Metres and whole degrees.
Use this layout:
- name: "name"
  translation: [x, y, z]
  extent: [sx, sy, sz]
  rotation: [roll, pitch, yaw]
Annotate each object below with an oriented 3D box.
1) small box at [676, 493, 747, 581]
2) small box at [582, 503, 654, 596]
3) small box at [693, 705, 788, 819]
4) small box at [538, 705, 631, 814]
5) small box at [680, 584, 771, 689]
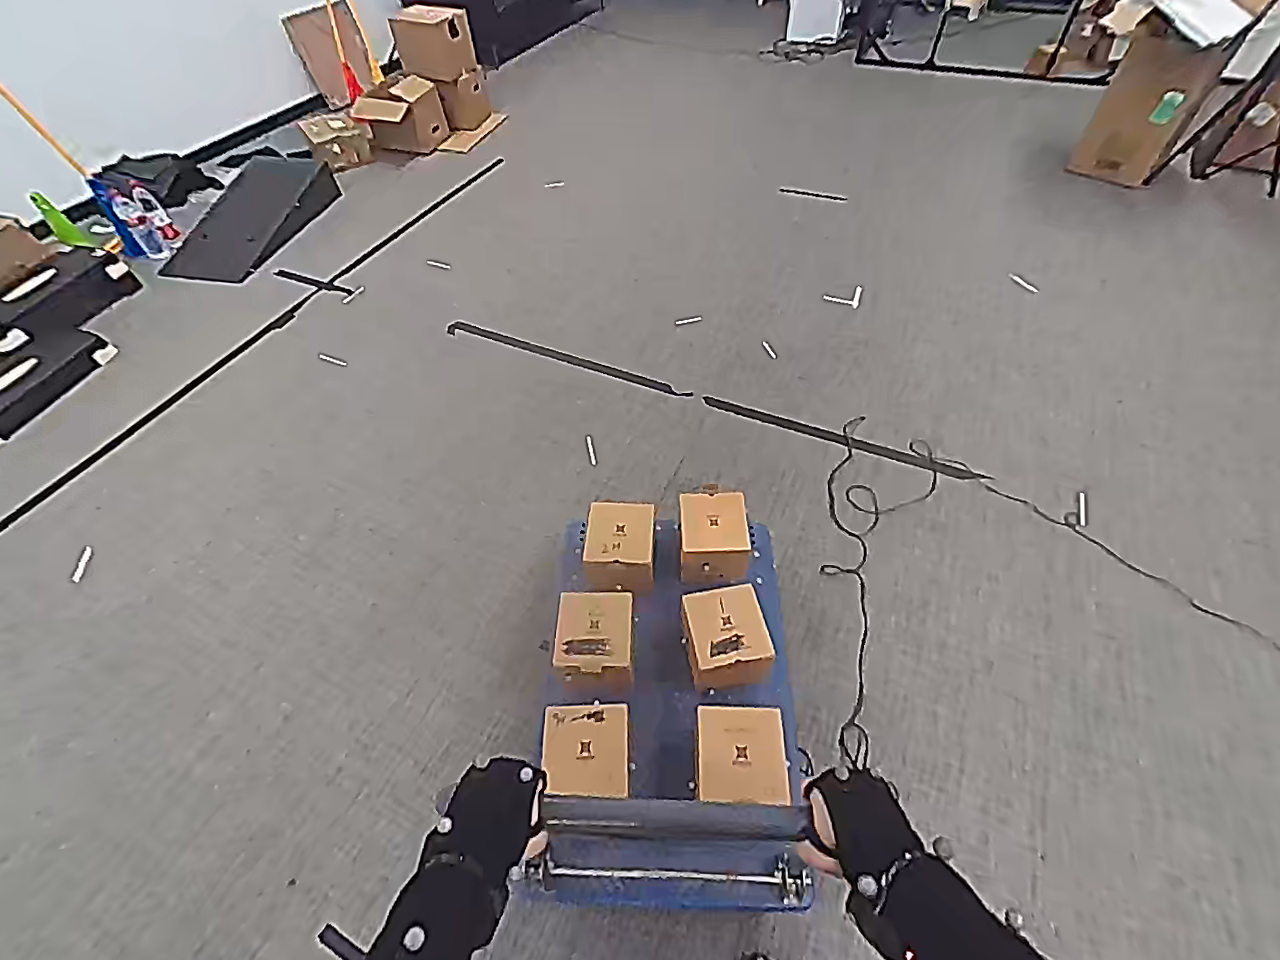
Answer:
- name: "small box"
  translation: [0.182, 0.155, 1.418]
  extent: [0.168, 0.176, 0.179]
  rotation: [-2, 52, 1]
- name: "small box"
  translation: [-0.052, 0.181, 1.403]
  extent: [0.168, 0.176, 0.179]
  rotation: [2, 53, 4]
- name: "small box"
  translation: [0.194, 0.571, 1.089]
  extent: [0.168, 0.176, 0.179]
  rotation: [1, 51, 2]
- name: "small box"
  translation: [-0.104, 0.571, 1.098]
  extent: [0.168, 0.176, 0.179]
  rotation: [-2, 52, 0]
- name: "small box"
  translation: [0.190, 0.368, 1.249]
  extent: [0.168, 0.176, 0.179]
  rotation: [-9, 51, -5]
